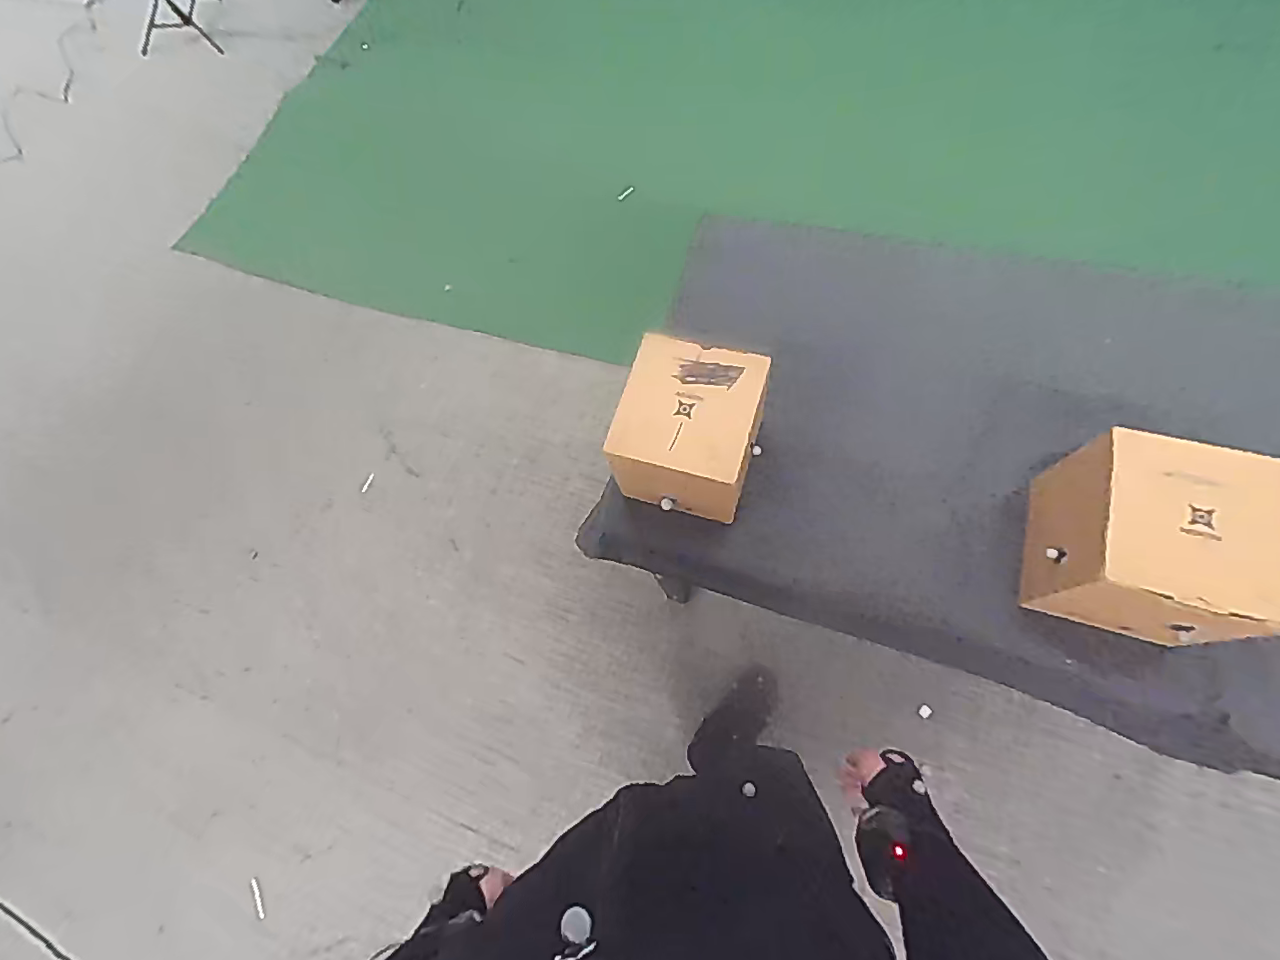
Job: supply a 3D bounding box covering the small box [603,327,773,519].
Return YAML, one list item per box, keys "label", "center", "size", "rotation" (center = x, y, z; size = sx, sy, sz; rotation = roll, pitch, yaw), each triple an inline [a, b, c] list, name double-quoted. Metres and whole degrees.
- label: "small box"
  center: [0.068, -0.068, 0.717]
  size: [0.168, 0.176, 0.179]
  rotation: [15, 72, 13]

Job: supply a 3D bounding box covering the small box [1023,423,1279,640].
- label: "small box"
  center: [0.558, 0.066, 0.598]
  size: [0.168, 0.176, 0.179]
  rotation: [15, 70, 12]
